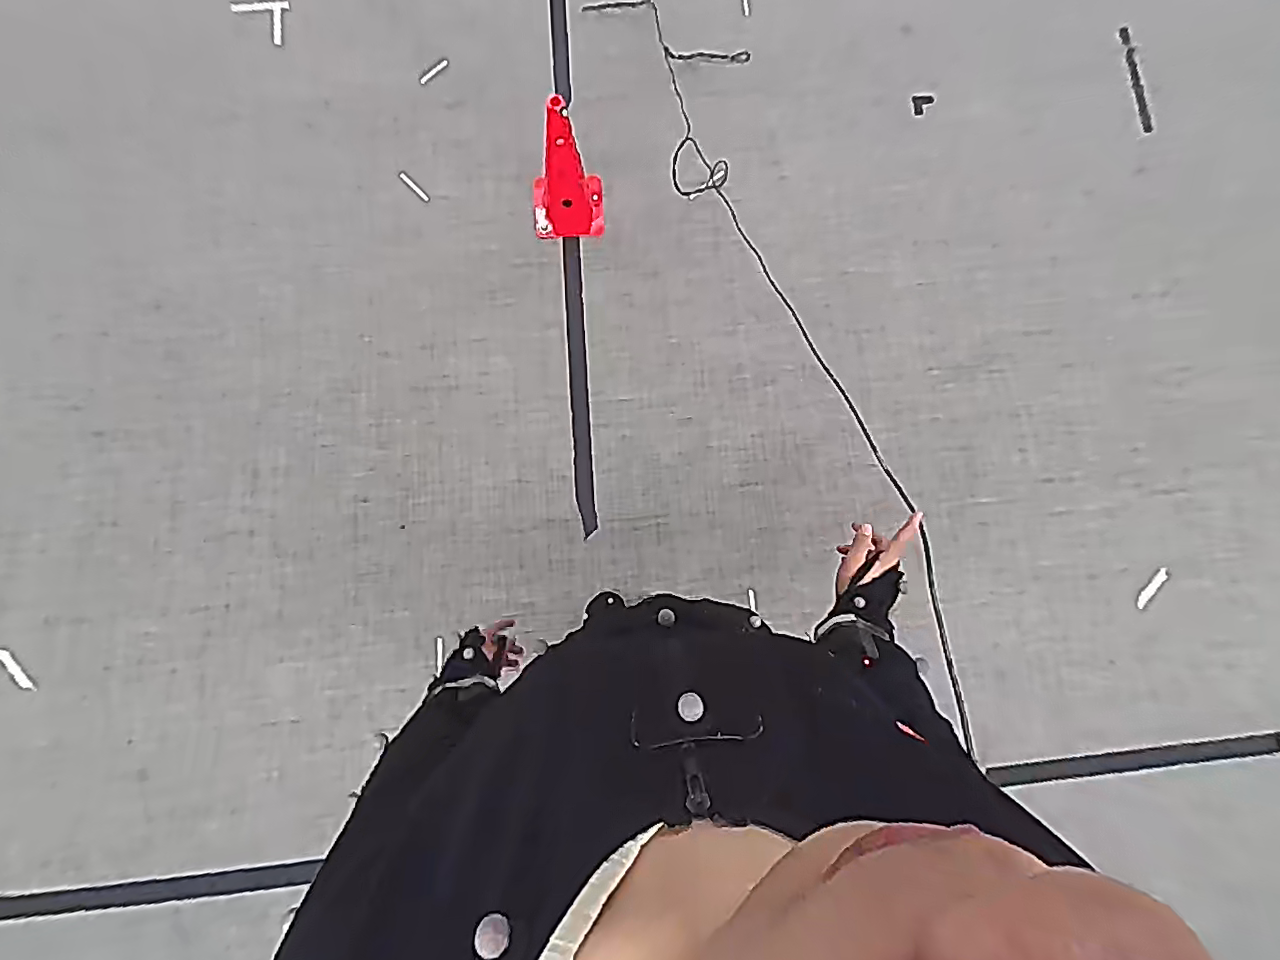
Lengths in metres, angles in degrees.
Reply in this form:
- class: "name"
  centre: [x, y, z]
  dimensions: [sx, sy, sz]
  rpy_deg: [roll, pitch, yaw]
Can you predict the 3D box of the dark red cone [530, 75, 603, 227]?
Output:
- class: "dark red cone"
  centre: [-0.201, -0.842, 1.386]
  dimensions: [0.201, 0.394, 0.202]
  rpy_deg: [-5, 79, -5]
